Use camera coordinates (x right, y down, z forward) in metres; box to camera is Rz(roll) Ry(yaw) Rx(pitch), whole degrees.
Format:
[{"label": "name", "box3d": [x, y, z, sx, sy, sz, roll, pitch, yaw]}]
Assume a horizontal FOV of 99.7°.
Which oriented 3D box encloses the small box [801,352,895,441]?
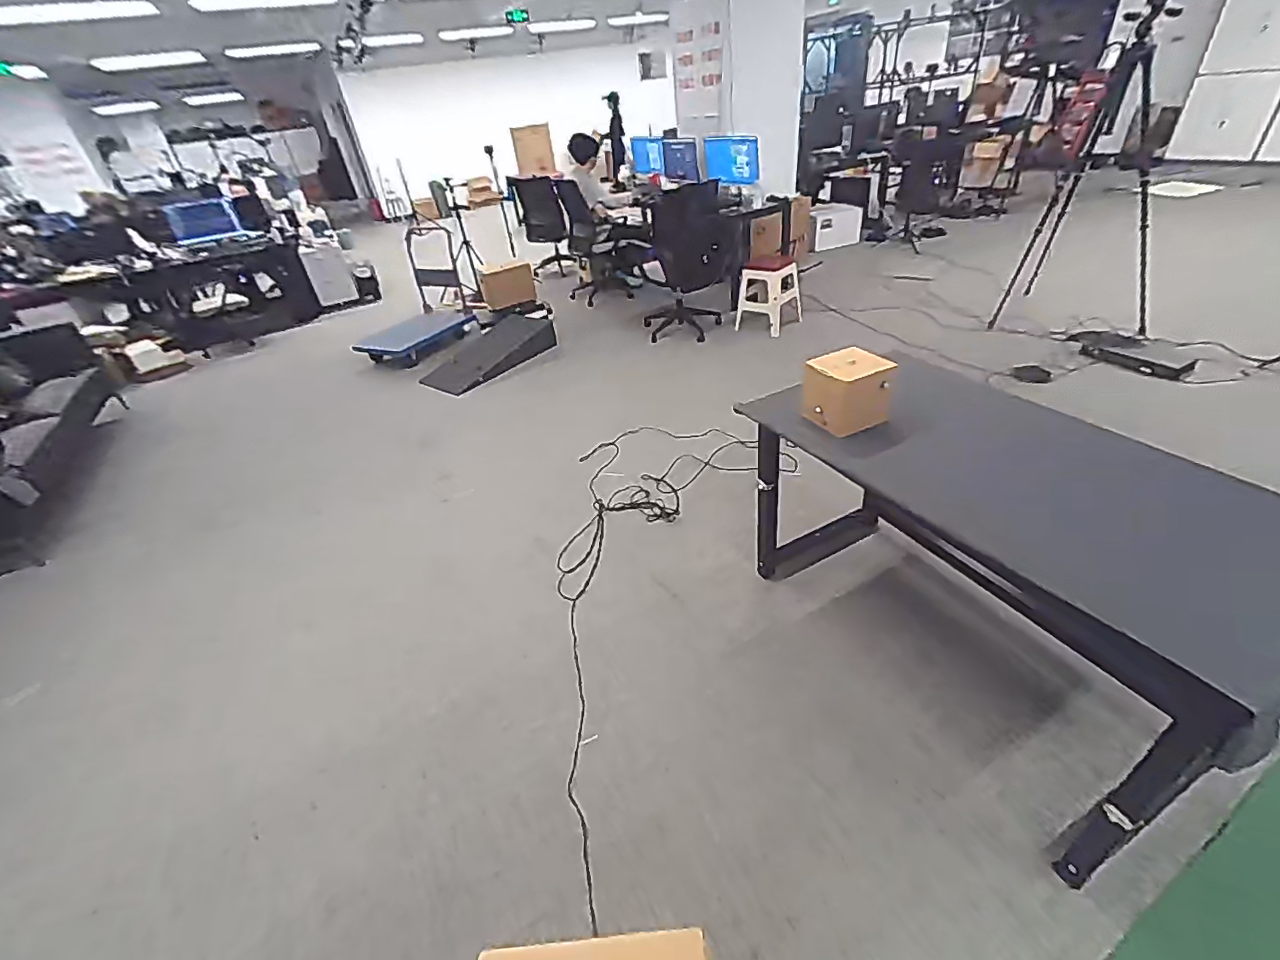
[{"label": "small box", "box3d": [0.566, -0.232, 1.498, 0.179, 0.176, 0.168, -19, 37, -17]}]
